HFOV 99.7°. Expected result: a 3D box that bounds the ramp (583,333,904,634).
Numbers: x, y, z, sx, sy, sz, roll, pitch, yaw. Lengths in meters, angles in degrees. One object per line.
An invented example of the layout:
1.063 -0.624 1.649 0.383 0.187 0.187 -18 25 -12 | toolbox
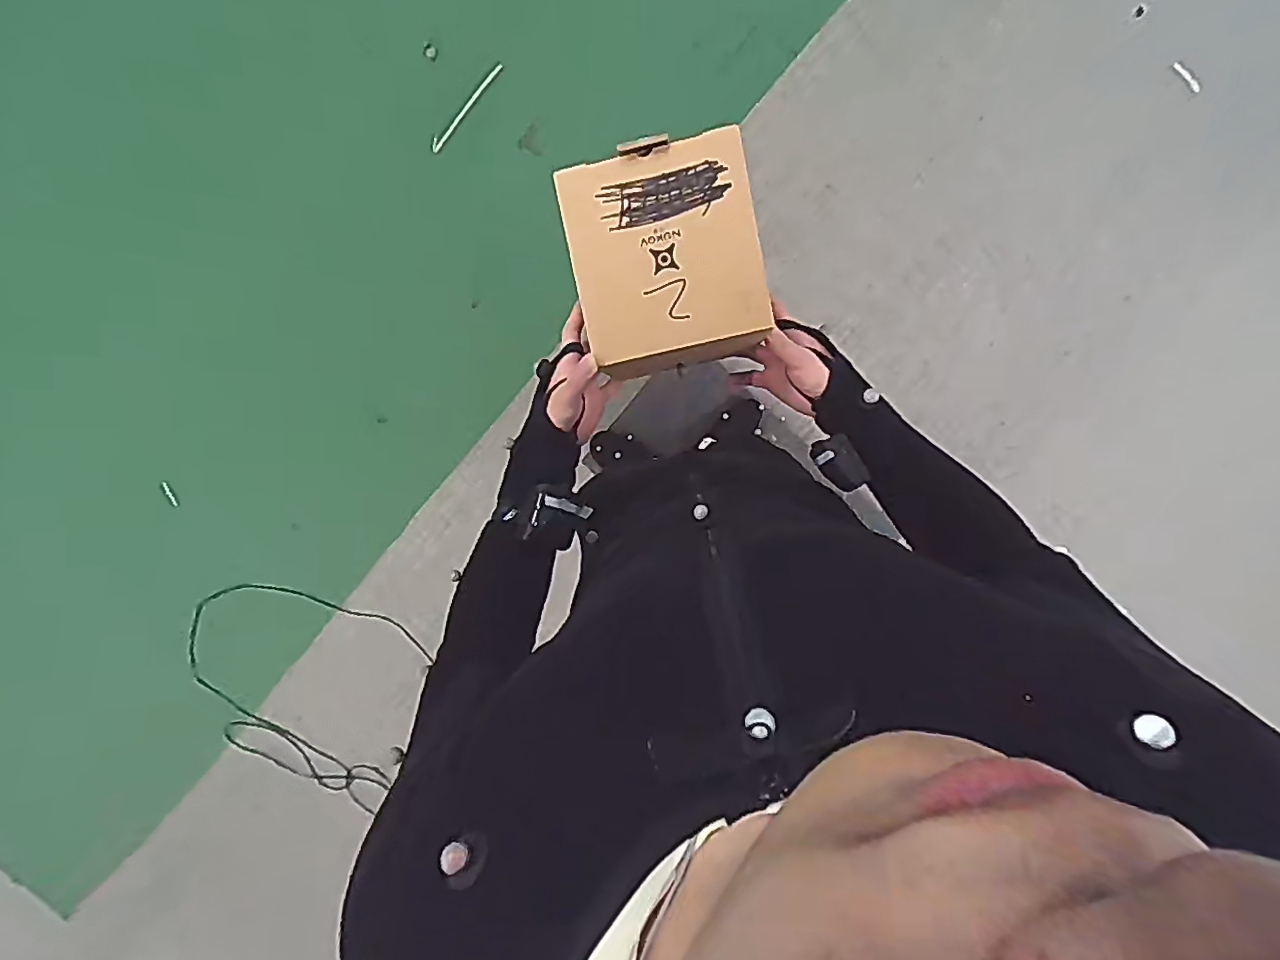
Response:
0.355 0.054 1.695 0.991 0.206 0.509 38 98 -5 | ramp
